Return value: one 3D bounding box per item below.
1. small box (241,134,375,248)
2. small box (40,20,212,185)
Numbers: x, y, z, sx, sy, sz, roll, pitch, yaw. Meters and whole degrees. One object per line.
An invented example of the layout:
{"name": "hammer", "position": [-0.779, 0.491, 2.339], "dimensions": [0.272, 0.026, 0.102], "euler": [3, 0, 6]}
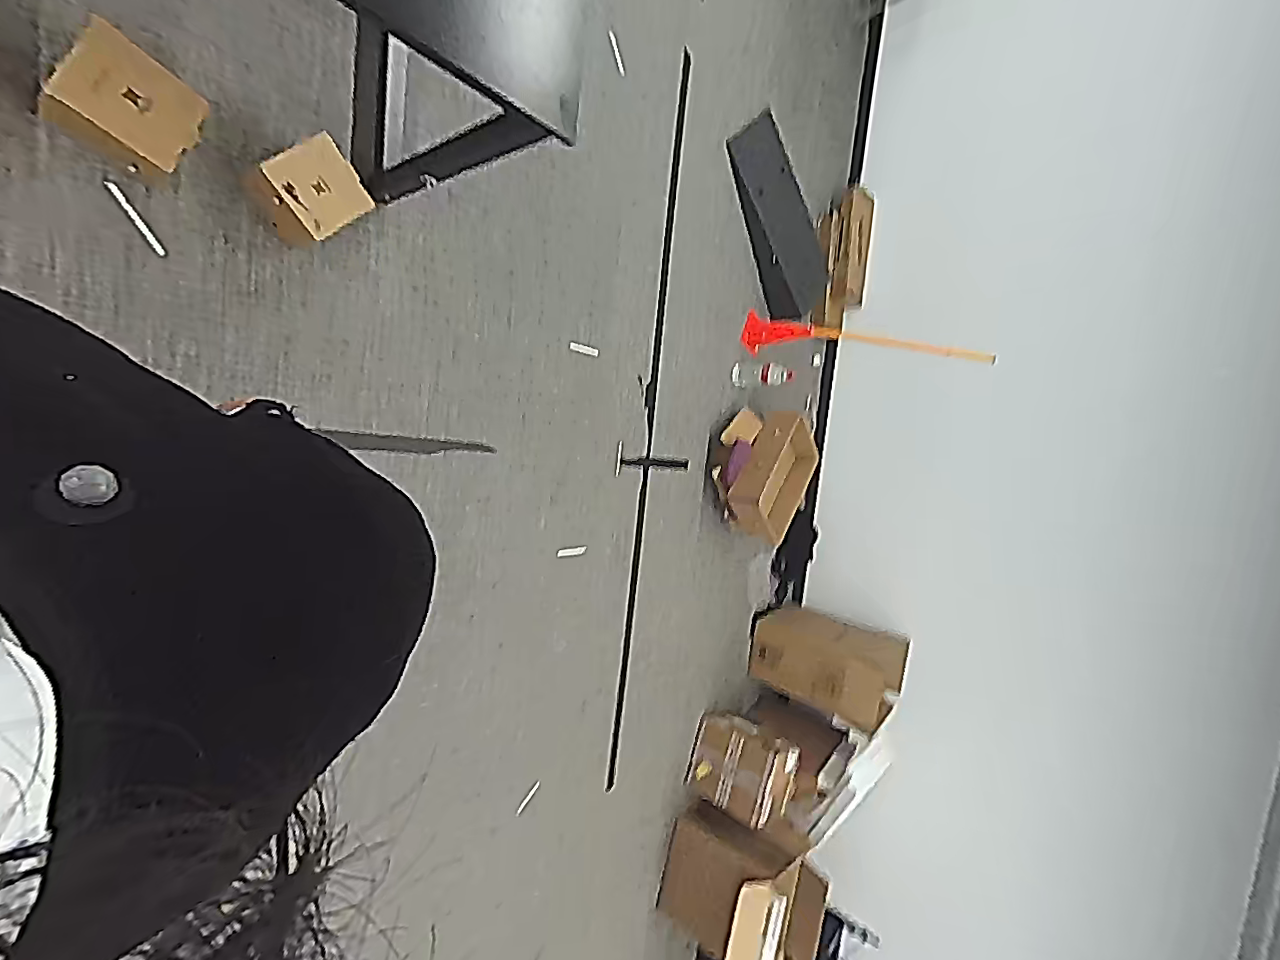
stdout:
{"name": "small box", "position": [-0.763, -0.657, 1.240], "dimensions": [0.179, 0.176, 0.168], "euler": [-54, 134, -28]}
{"name": "small box", "position": [-0.953, -0.683, 1.006], "dimensions": [0.179, 0.176, 0.168], "euler": [33, 72, -48]}
